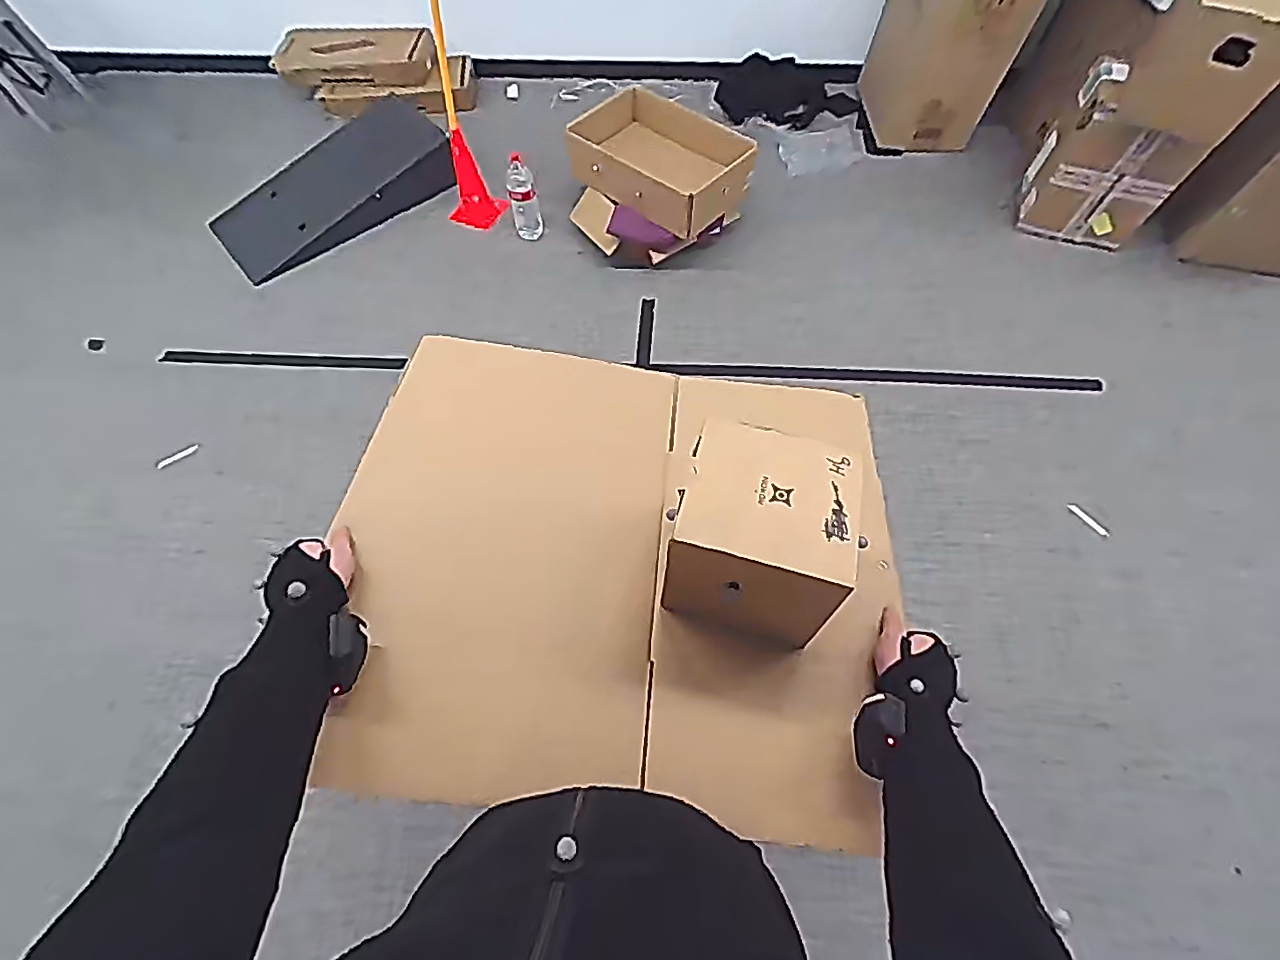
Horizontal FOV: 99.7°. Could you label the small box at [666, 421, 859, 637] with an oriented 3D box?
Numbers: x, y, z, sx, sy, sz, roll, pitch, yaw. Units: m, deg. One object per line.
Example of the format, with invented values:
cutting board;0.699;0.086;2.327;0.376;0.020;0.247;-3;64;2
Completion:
small box;0.132;0.061;0.620;0.179;0.176;0.168;13;56;9
